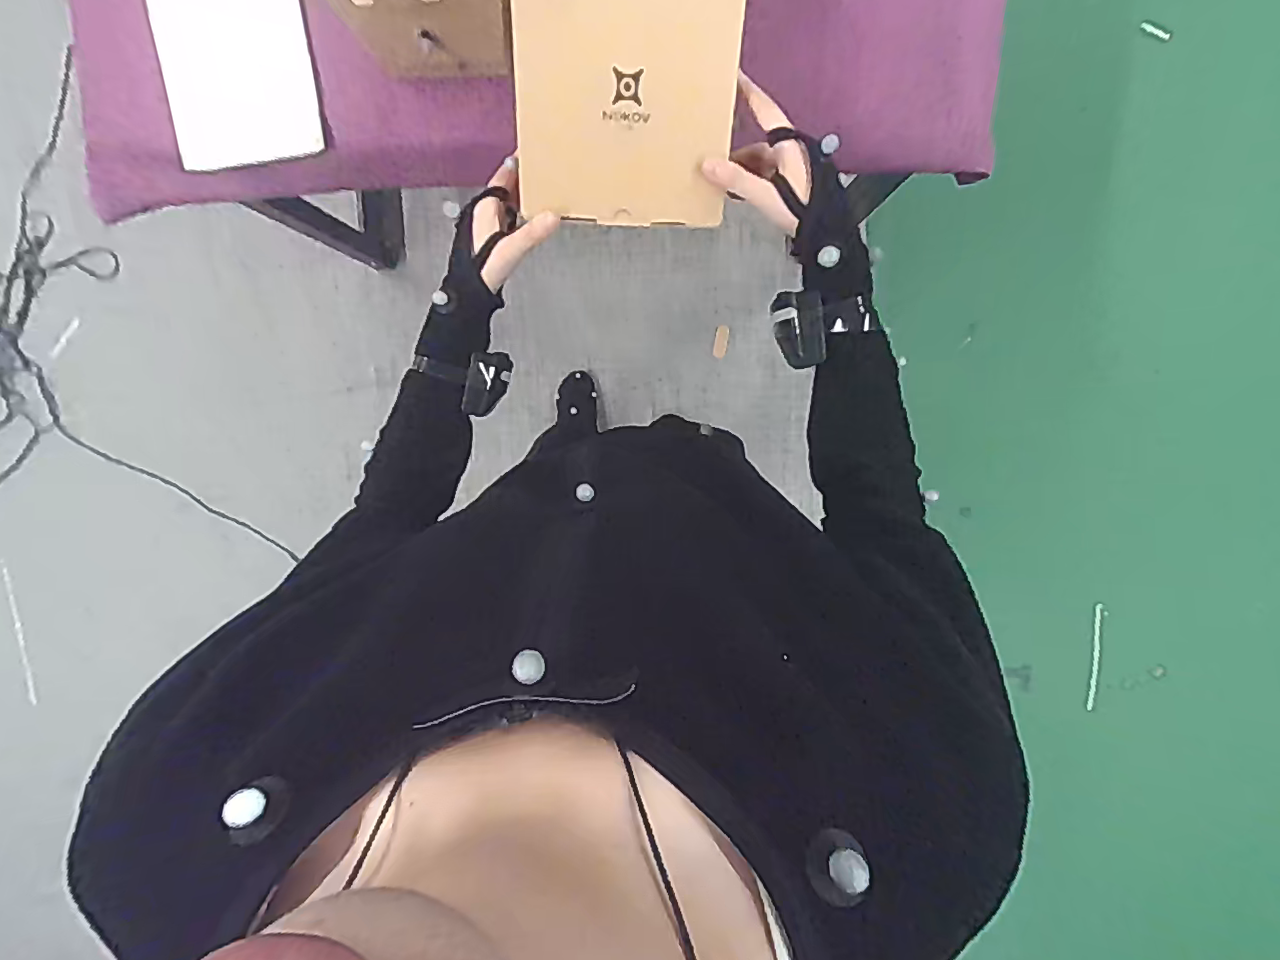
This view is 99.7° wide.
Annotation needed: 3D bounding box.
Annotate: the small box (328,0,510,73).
[{"bbox_3d":[-0.252,-0.609,0.626,0.168,0.176,0.179,0,98,1],"label":"small box"}]
